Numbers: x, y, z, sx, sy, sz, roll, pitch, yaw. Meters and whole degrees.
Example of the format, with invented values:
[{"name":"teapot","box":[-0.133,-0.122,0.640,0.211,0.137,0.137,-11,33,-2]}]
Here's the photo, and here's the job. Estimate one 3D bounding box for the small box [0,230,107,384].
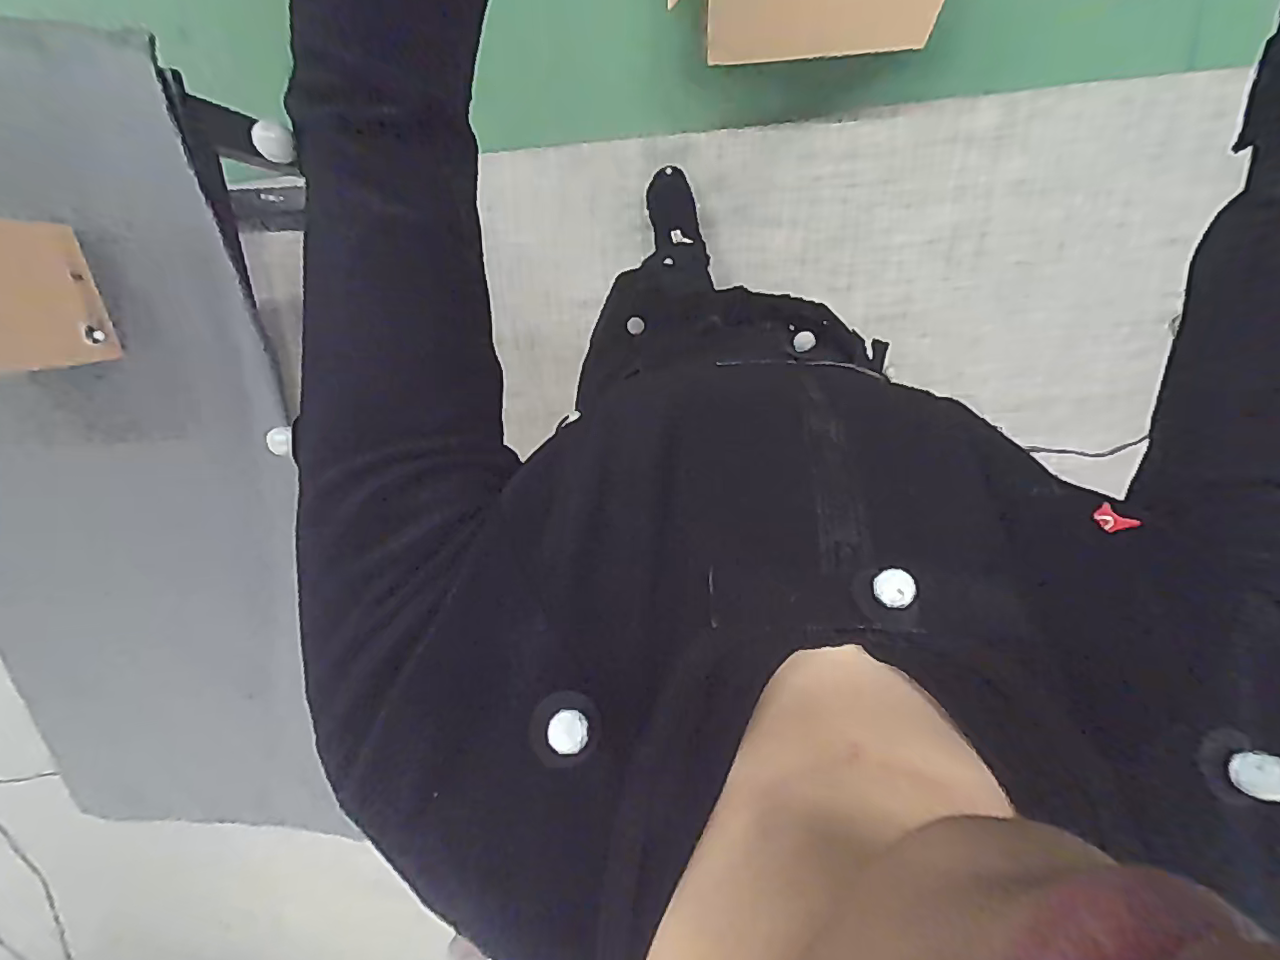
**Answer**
[{"name":"small box","box":[-0.795,-0.199,0.636,0.179,0.176,0.168,-3,109,7]}]
